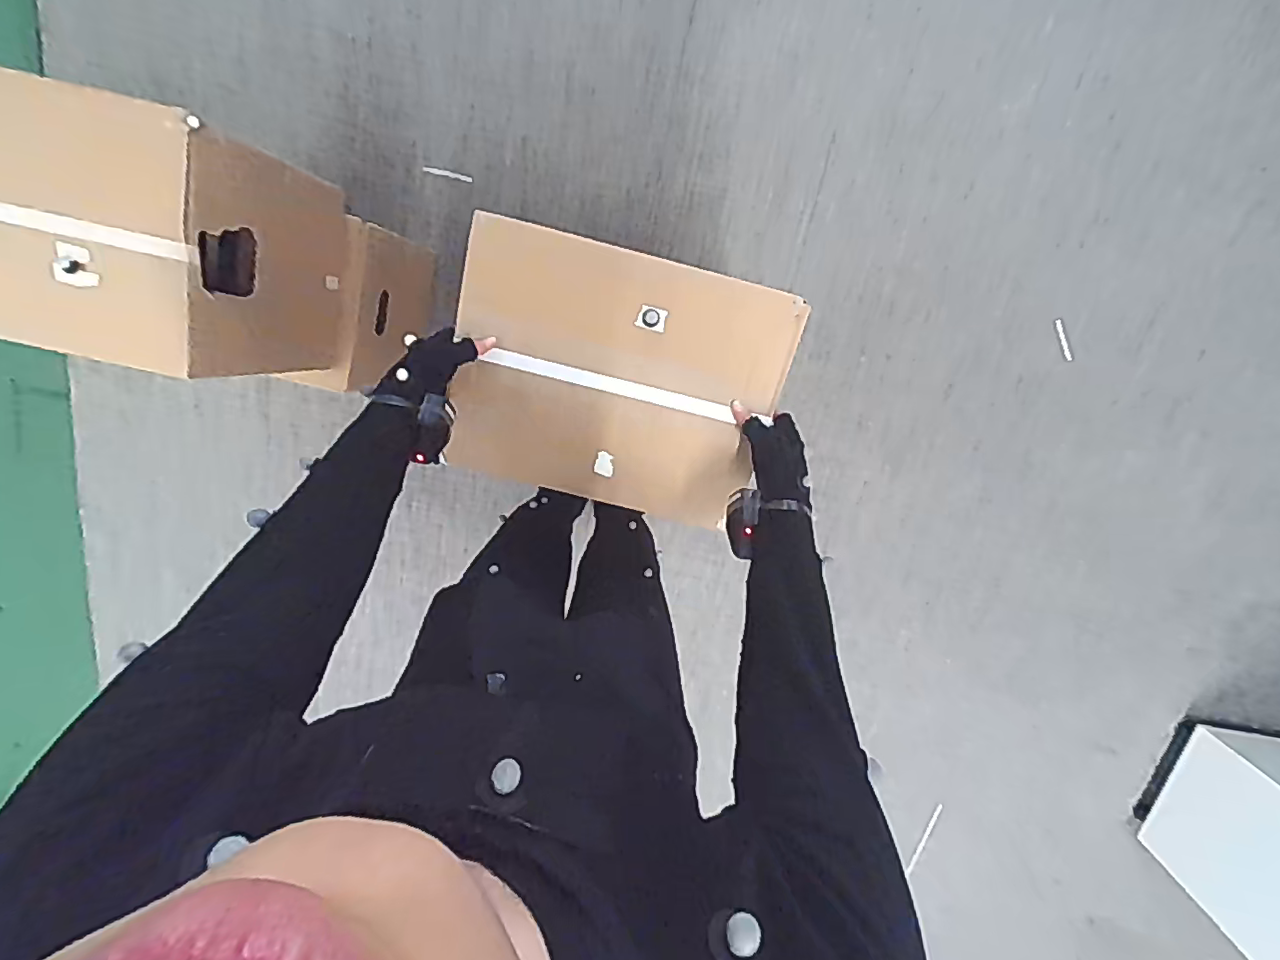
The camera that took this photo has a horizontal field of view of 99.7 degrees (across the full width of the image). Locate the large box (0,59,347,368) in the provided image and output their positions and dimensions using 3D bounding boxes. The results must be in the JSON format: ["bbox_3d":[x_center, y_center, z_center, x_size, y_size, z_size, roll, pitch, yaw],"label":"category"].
[{"bbox_3d":[-0.723,-0.360,0.798,0.408,0.320,0.320,13,104,-2],"label":"large box"}]
